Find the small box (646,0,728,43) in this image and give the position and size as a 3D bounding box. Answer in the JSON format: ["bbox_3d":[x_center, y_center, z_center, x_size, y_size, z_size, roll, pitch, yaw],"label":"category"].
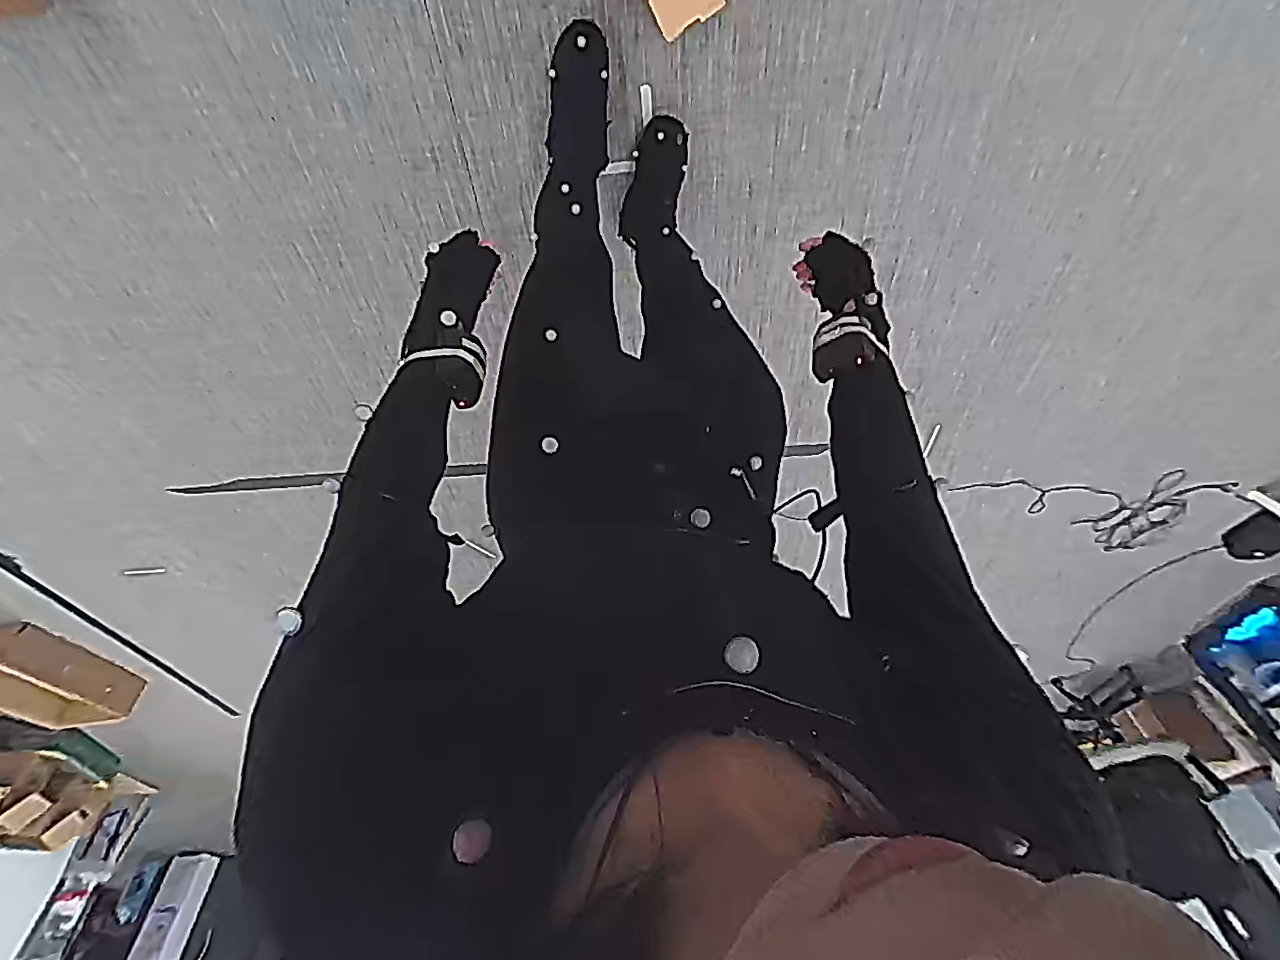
[{"bbox_3d":[0.067,-0.852,0.859,0.168,0.176,0.179,-25,132,20],"label":"small box"}]
